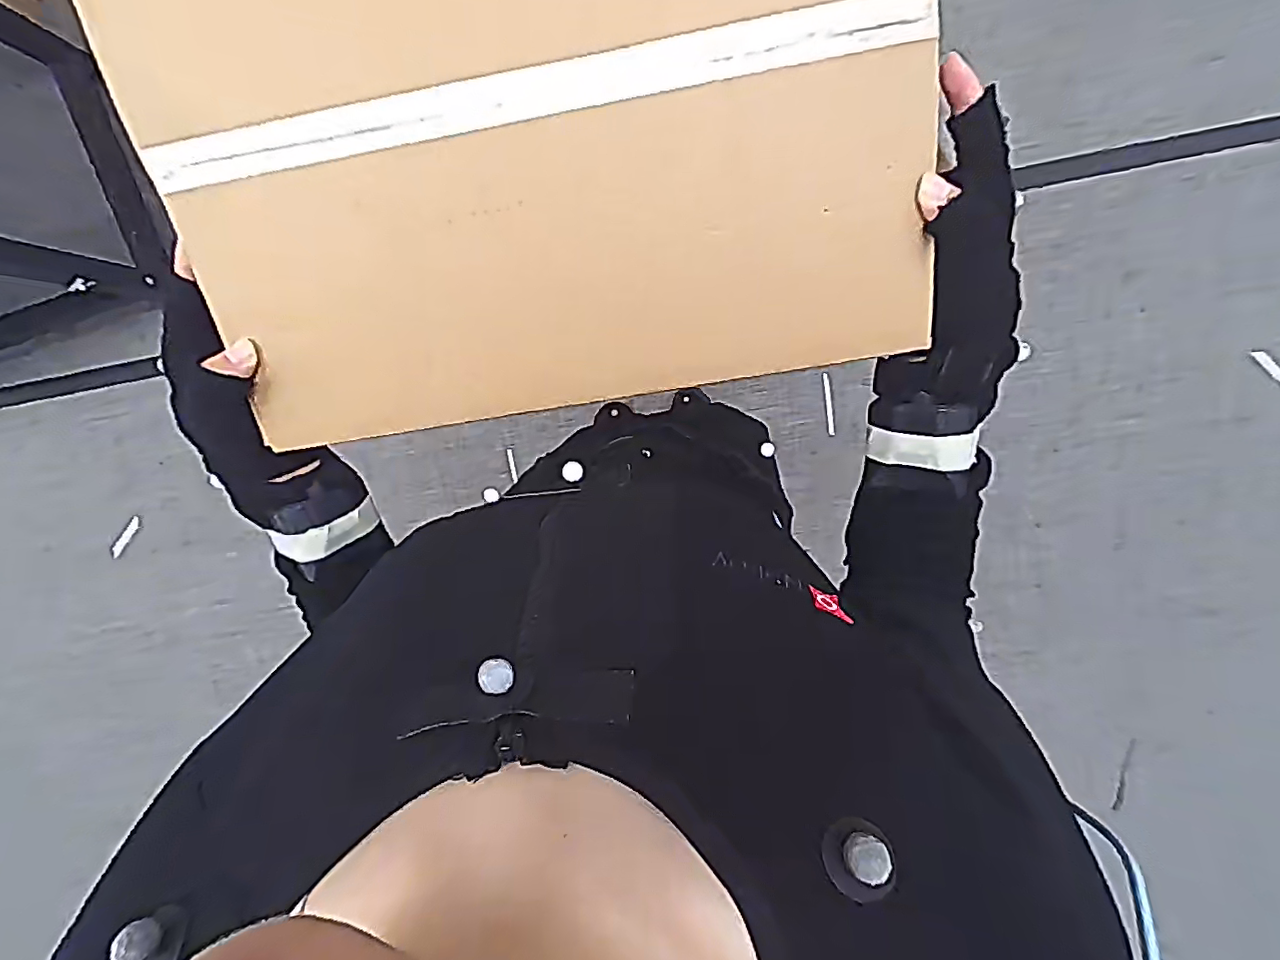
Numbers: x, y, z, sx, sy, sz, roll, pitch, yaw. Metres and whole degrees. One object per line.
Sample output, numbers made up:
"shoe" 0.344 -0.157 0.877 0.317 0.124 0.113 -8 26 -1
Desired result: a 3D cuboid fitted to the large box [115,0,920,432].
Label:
"large box" -0.055 -0.254 0.422 0.408 0.320 0.320 -9 111 4
